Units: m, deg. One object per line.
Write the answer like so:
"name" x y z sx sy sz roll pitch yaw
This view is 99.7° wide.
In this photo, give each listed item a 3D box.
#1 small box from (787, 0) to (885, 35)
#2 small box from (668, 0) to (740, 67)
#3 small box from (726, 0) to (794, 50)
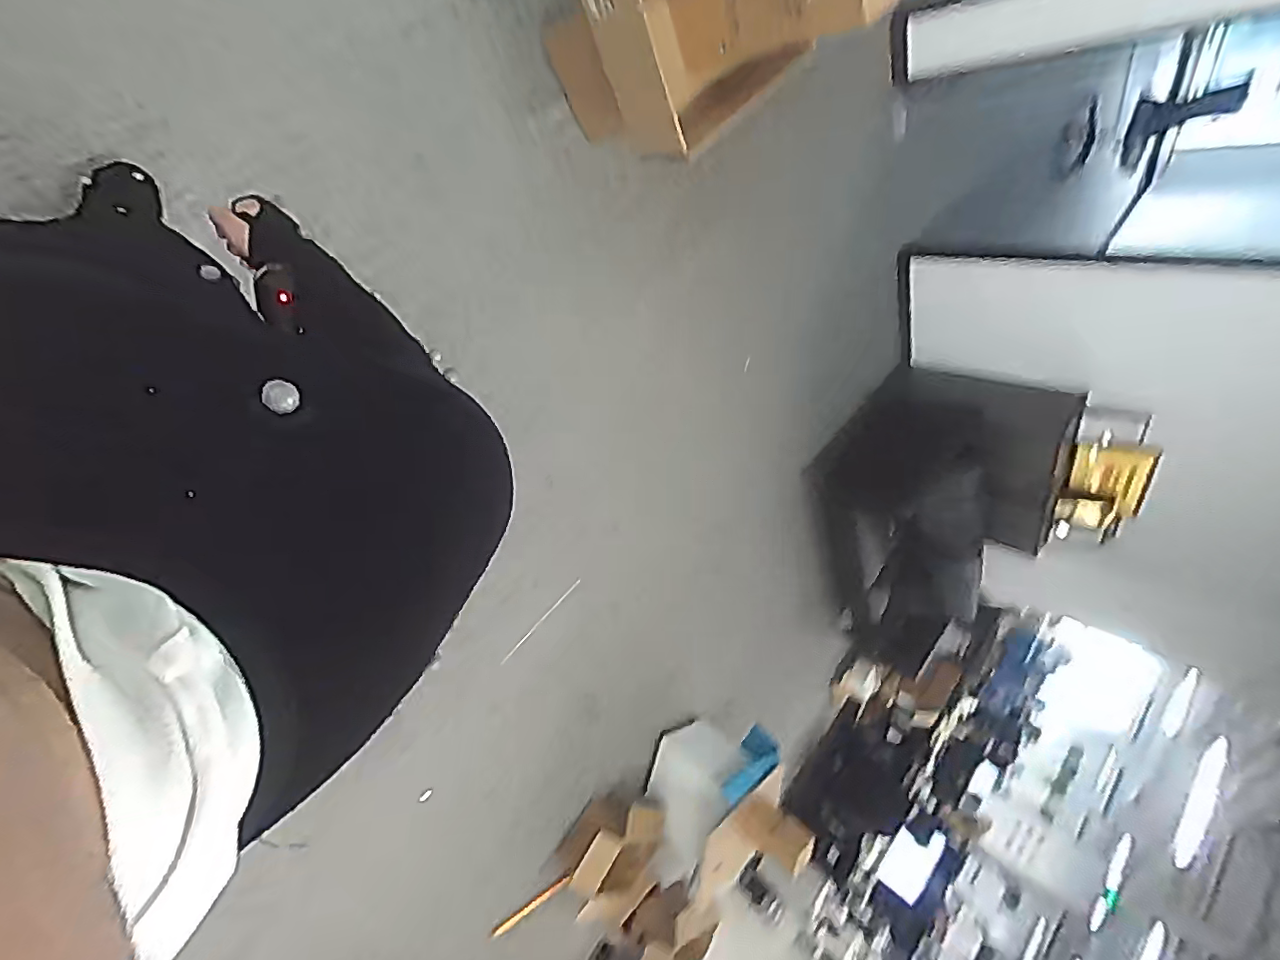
"small box" 0.419 -1.073 1.125 0.179 0.176 0.168 -48 135 -19
"small box" 0.191 -1.172 1.341 0.168 0.176 0.179 -49 136 -19
"small box" 0.308 -1.124 1.236 0.179 0.176 0.168 -48 136 -21
